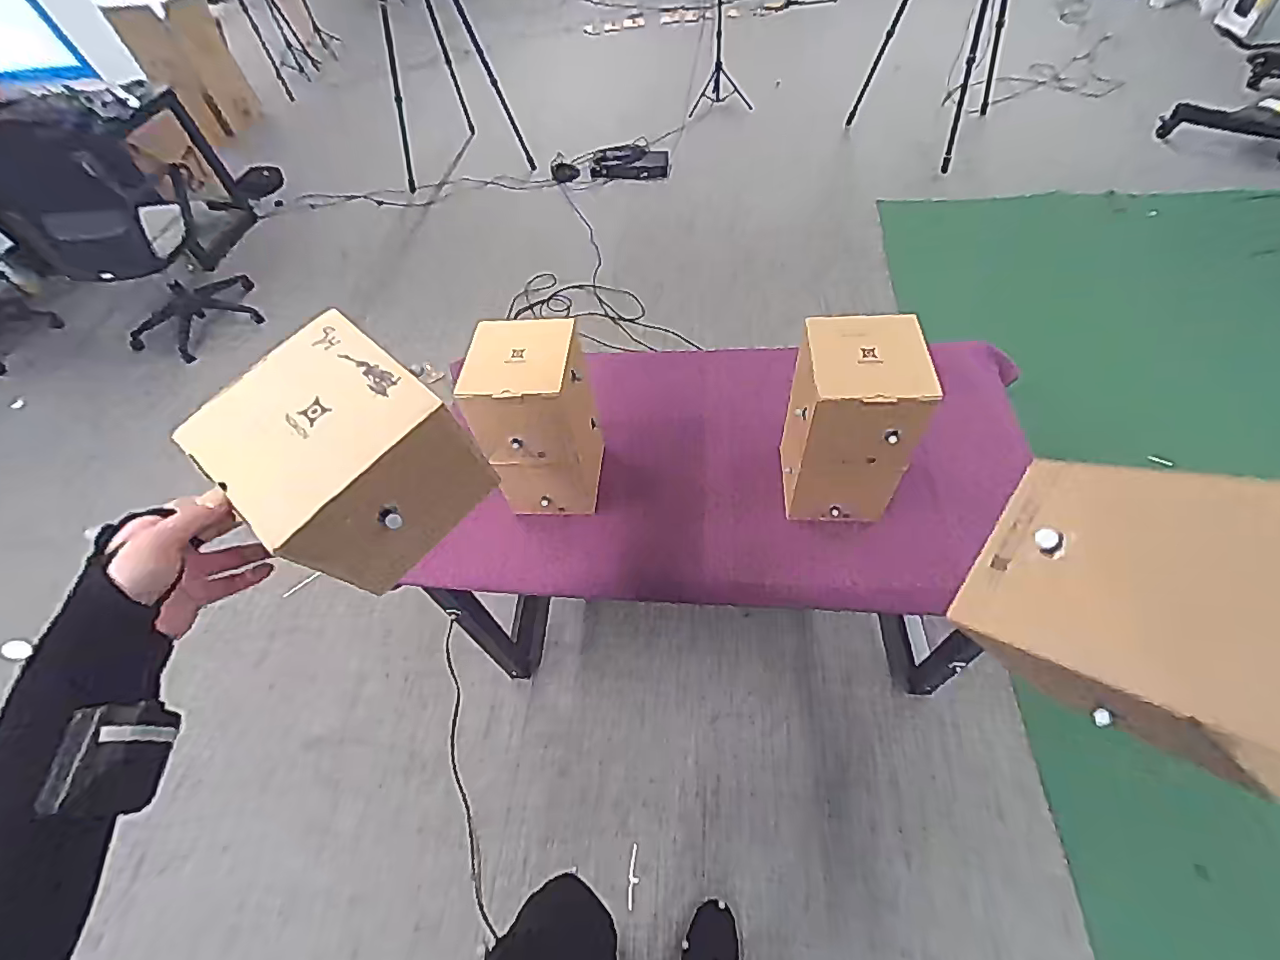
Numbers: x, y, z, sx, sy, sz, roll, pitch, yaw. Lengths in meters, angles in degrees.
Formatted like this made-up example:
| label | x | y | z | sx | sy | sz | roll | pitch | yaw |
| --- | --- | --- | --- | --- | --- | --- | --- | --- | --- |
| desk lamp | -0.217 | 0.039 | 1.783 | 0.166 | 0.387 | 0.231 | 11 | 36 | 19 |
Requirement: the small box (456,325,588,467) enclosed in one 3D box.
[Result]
| label | x | y | z | sx | sy | sz | roll | pitch | yaw |
| --- | --- | --- | --- | --- | --- | --- | --- | --- | --- |
| small box | -0.186 | -0.141 | 0.918 | 0.168 | 0.176 | 0.179 | 0 | 54 | 6 |

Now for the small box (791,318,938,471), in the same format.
| label | x | y | z | sx | sy | sz | roll | pitch | yaw |
| --- | --- | --- | --- | --- | --- | --- | --- | --- | --- |
| small box | 0.334 | -0.126 | 0.842 | 0.168 | 0.176 | 0.179 | 0 | 54 | 7 |

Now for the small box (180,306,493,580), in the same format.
| label | x | y | z | sx | sy | sz | roll | pitch | yaw |
| --- | --- | --- | --- | --- | --- | --- | --- | --- | --- |
| small box | -0.279 | -0.026 | 0.538 | 0.168 | 0.176 | 0.179 | 39 | 75 | 19 |

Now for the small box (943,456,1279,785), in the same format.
| label | x | y | z | sx | sy | sz | roll | pitch | yaw |
| --- | --- | --- | --- | --- | --- | --- | --- | --- | --- |
| small box | 0.391 | 0.092 | 0.428 | 0.168 | 0.179 | 0.176 | -58 | 20 | -5 |

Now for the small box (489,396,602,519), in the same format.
| label | x | y | z | sx | sy | sz | roll | pitch | yaw |
| --- | --- | --- | --- | --- | --- | --- | --- | --- | --- |
| small box | -0.171 | -0.044 | 1.048 | 0.168 | 0.176 | 0.179 | 0 | 54 | 7 |
